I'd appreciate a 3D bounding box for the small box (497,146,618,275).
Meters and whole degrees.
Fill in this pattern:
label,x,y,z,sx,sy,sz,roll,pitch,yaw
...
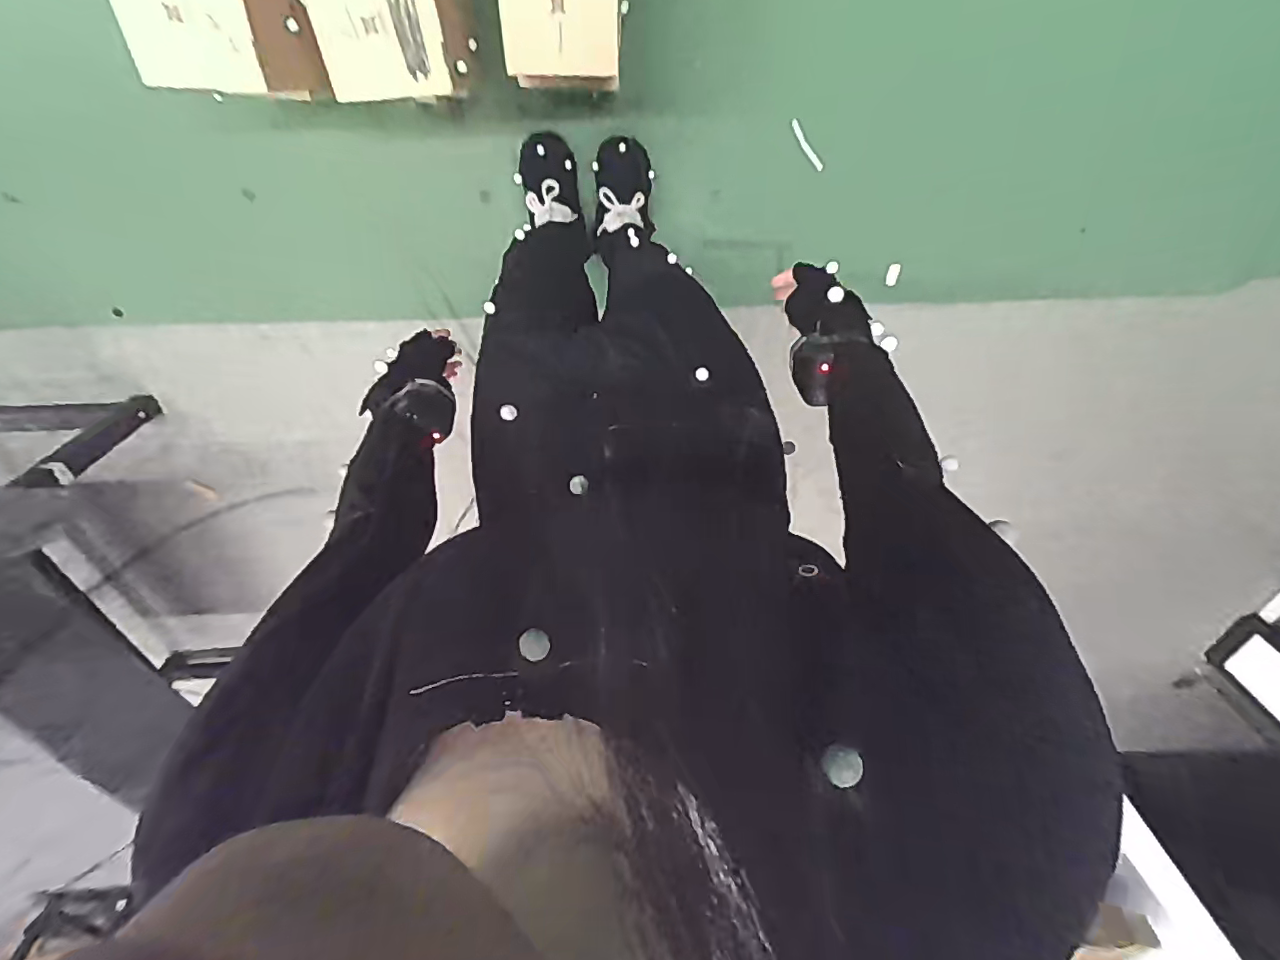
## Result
label,x,y,z,sx,sy,sz,roll,pitch,yaw
small box,-0.178,-0.564,1.132,0.179,0.176,0.168,35,131,-4

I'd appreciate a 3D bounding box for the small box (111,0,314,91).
label,x,y,z,sx,sy,sz,roll,pitch,yaw
small box,-0.626,-0.681,0.797,0.179,0.176,0.168,2,127,-4

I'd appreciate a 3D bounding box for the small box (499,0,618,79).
label,x,y,z,sx,sy,sz,roll,pitch,yaw
small box,-0.118,-0.710,0.804,0.168,0.176,0.179,-1,127,-3

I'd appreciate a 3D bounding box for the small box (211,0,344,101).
label,x,y,z,sx,sy,sz,roll,pitch,yaw
small box,-0.641,-0.772,0.934,0.168,0.176,0.179,2,126,-4

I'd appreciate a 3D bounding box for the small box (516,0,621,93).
label,x,y,z,sx,sy,sz,roll,pitch,yaw
small box,-0.124,-0.789,0.949,0.179,0.176,0.168,1,127,-3
